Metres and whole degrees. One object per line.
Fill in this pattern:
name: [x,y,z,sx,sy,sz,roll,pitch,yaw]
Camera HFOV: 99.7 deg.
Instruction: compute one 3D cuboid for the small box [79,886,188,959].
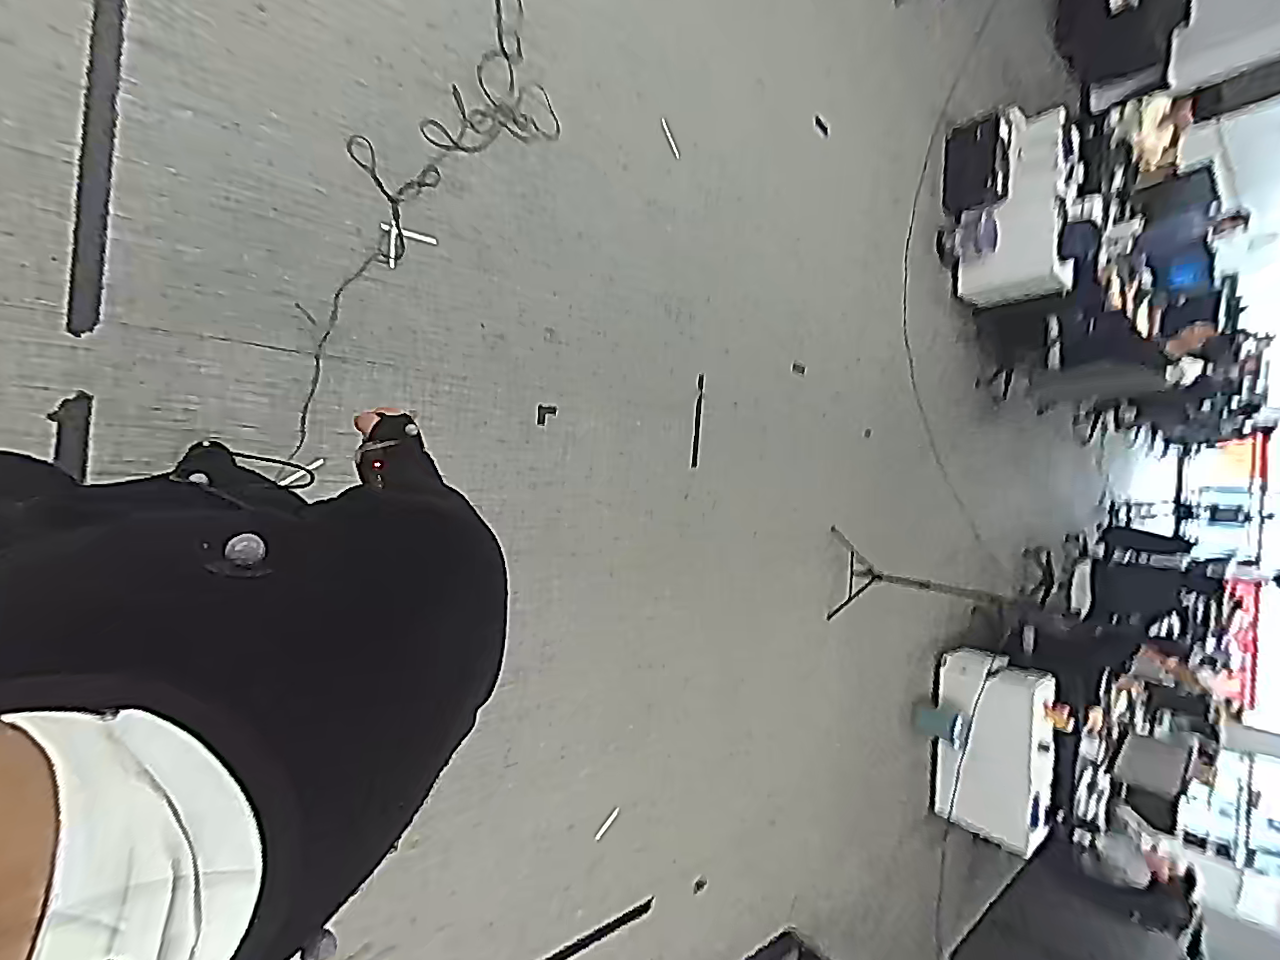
small box: [-1.080,1.034,1.159,0.168,0.176,0.179,1,91,-39]
